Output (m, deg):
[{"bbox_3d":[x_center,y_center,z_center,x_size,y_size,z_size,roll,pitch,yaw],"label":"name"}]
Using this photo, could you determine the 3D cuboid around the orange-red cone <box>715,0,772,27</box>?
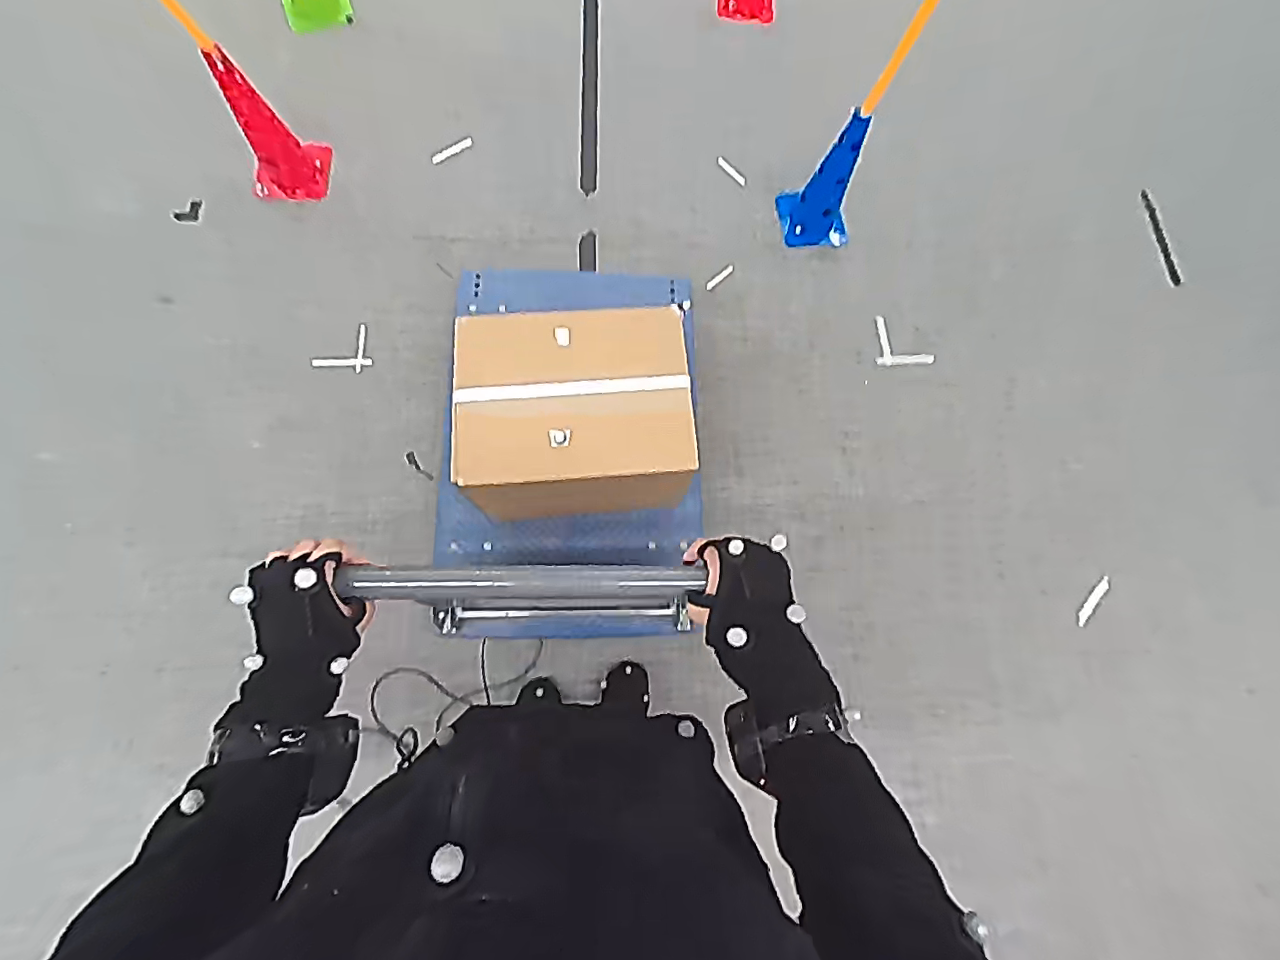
[{"bbox_3d":[0.380,-1.722,1.737,0.199,0.360,0.198,6,74,-3],"label":"orange-red cone"}]

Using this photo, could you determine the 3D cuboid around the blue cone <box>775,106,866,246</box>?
[{"bbox_3d":[0.534,-0.852,1.515,0.193,0.380,0.192,-5,73,-6],"label":"blue cone"}]
